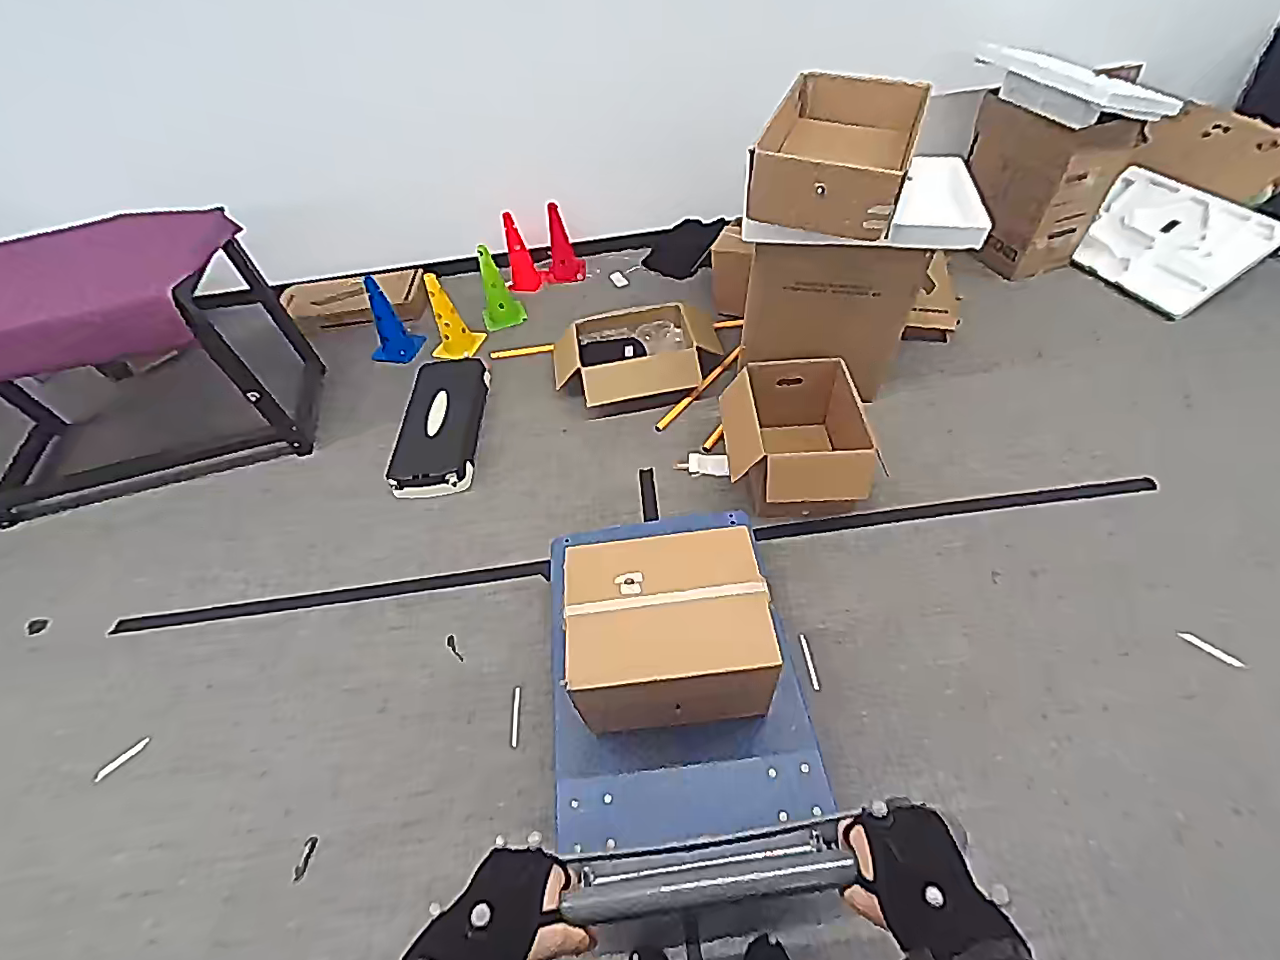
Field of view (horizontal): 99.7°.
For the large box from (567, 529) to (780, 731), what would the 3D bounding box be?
[{"bbox_3d":[0.066,0.344,1.218,0.408,0.320,0.320,-8,50,1],"label":"large box"}]
